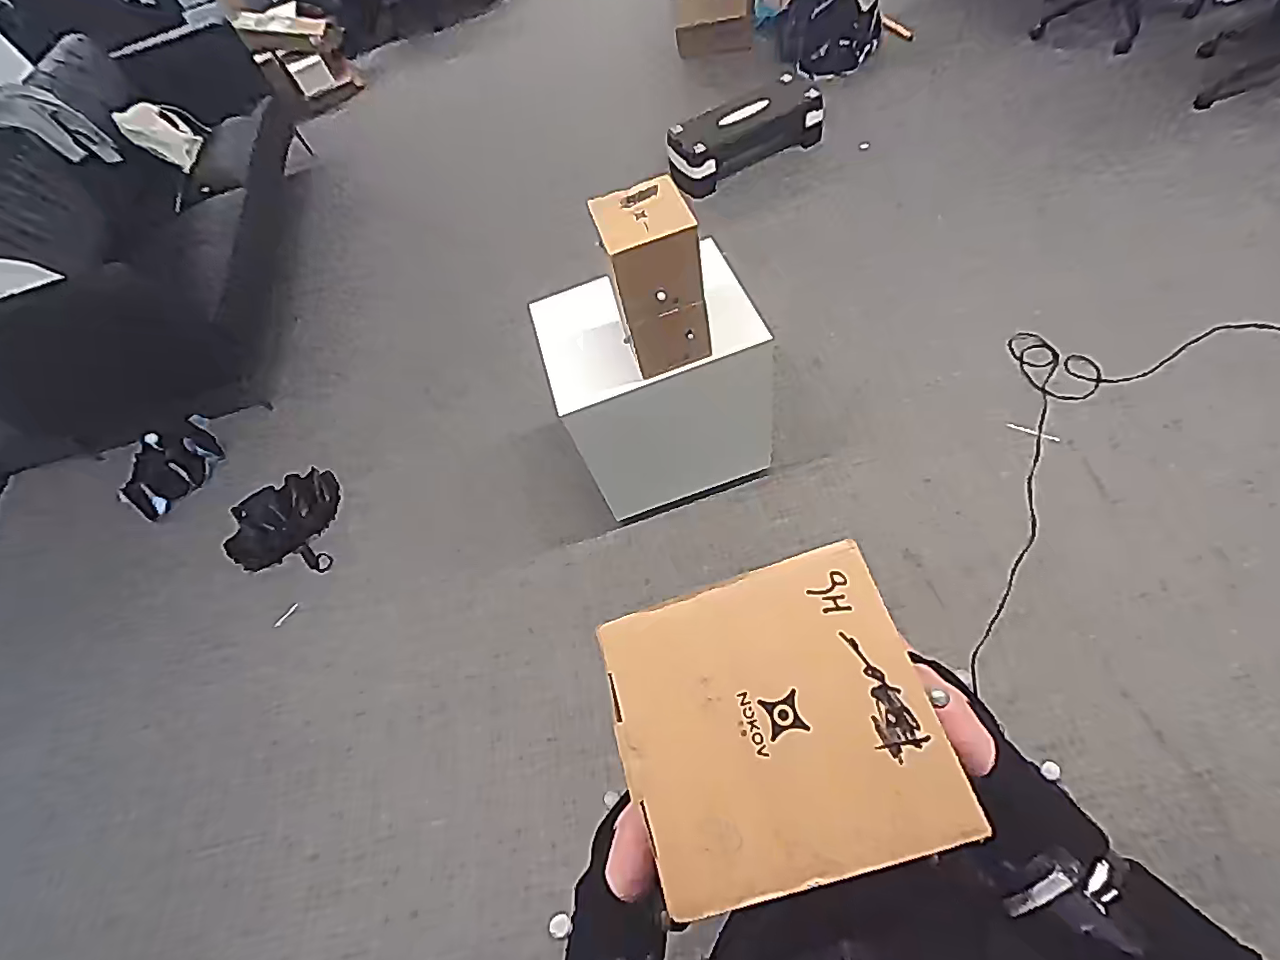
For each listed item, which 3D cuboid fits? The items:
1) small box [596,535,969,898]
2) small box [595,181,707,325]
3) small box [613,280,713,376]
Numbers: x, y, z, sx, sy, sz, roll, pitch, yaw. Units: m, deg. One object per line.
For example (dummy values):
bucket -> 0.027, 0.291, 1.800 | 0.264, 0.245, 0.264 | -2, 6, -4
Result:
small box -> 0.091, 0.160, 0.392 | 0.179, 0.176, 0.168 | -20, 67, 7
small box -> 0.024, -0.437, 1.054 | 0.168, 0.176, 0.179 | -18, 58, 1
small box -> 0.055, -0.352, 1.192 | 0.168, 0.176, 0.179 | -19, 56, 0
